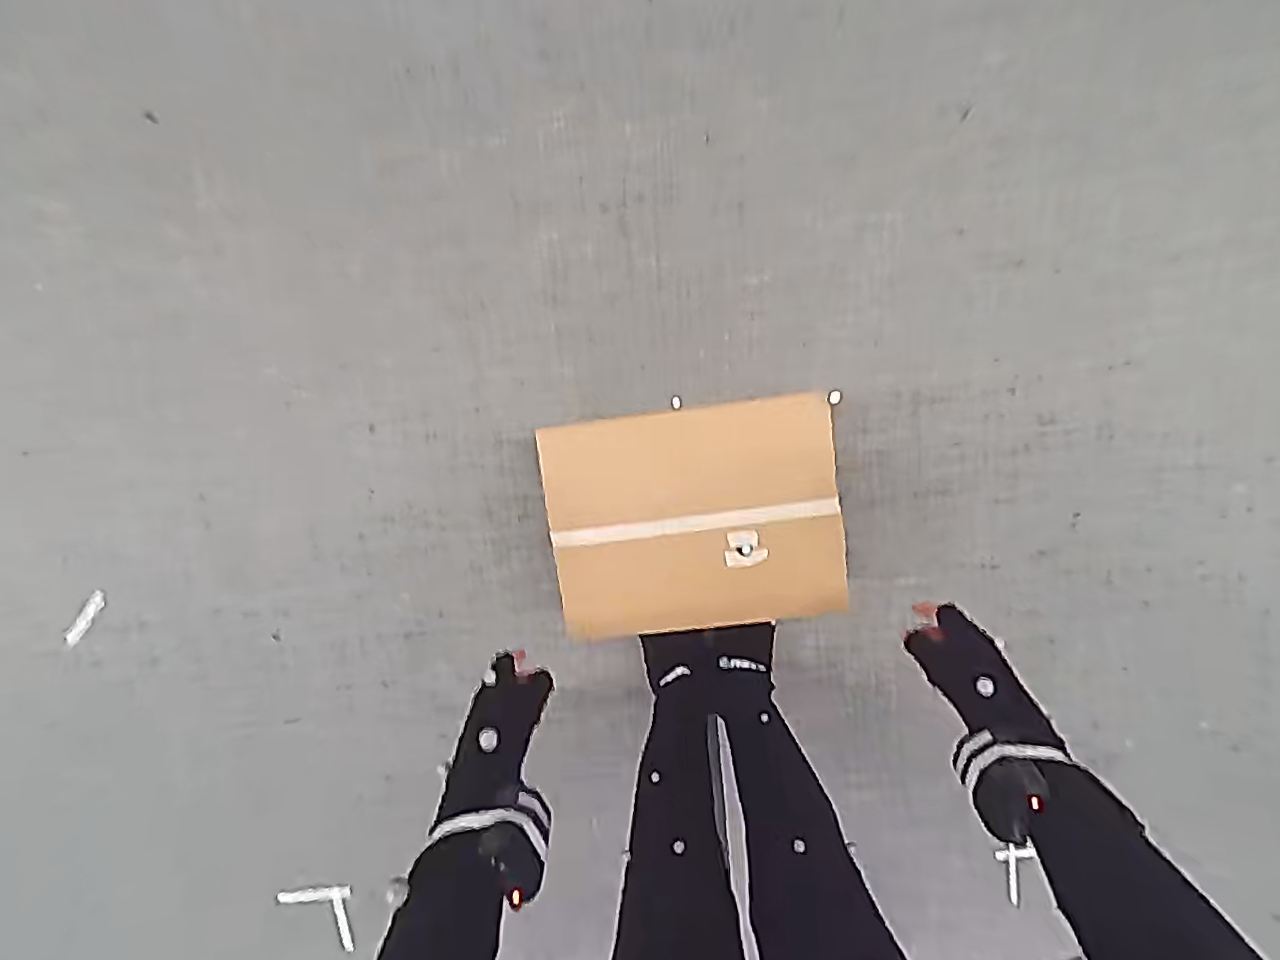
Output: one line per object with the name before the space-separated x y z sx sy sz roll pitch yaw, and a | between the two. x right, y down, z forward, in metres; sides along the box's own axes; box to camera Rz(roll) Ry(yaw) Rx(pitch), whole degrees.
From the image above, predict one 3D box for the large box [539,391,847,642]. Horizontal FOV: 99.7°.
large box | 0.081 0.041 0.907 0.408 0.320 0.320 -8 97 4
